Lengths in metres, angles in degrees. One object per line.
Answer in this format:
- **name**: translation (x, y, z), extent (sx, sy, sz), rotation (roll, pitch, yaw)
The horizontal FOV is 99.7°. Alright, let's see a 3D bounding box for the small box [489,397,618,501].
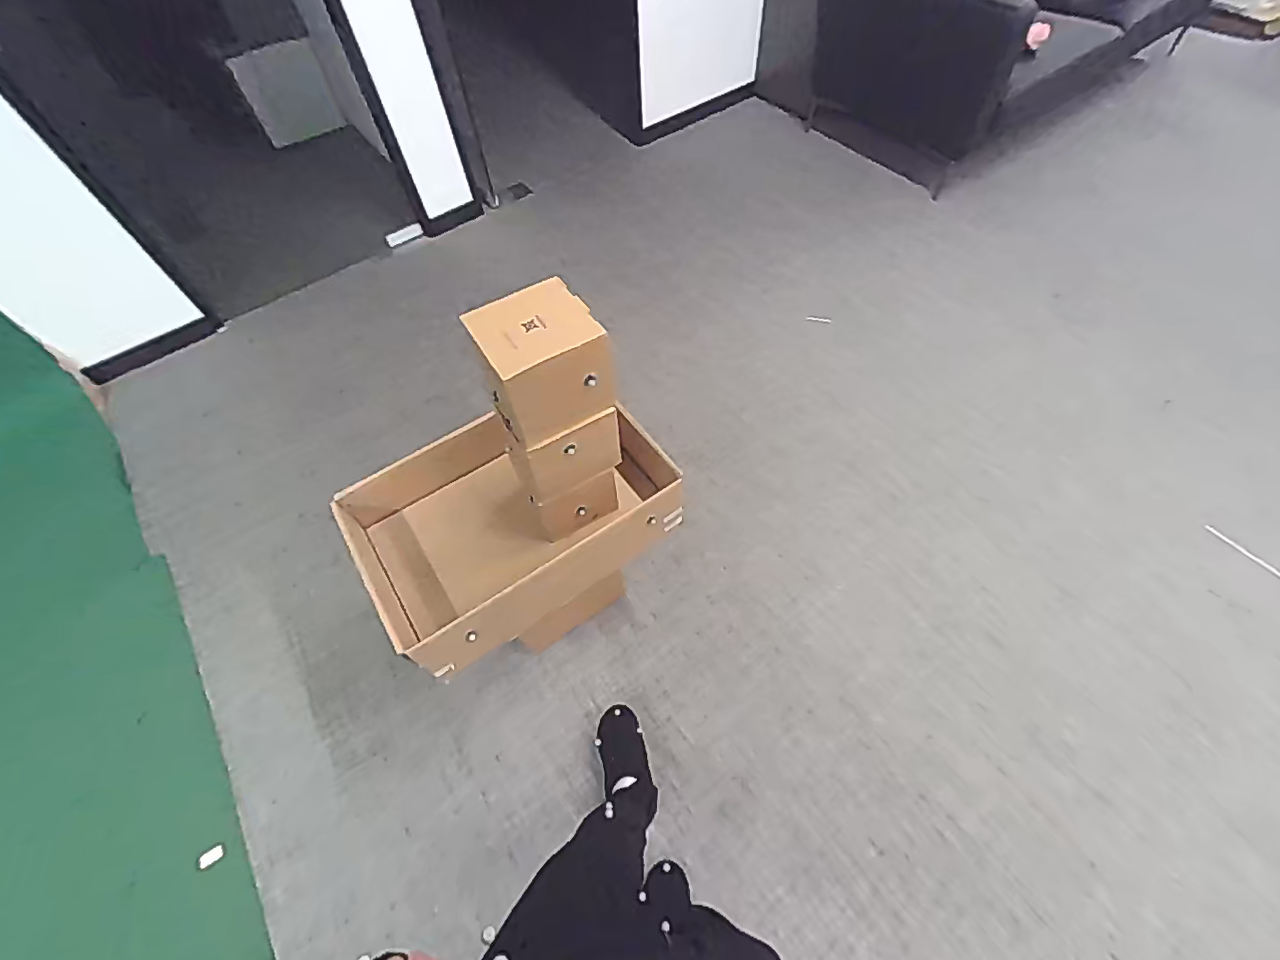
- **small box**: translation (-0.155, -0.089, 1.023), extent (0.179, 0.176, 0.168), rotation (-28, 60, -15)

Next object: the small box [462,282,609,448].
- **small box**: translation (-0.162, -0.187, 0.893), extent (0.179, 0.176, 0.168), rotation (-29, 60, -15)

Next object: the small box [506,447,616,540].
- **small box**: translation (-0.162, 0.006, 1.158), extent (0.168, 0.176, 0.179), rotation (-27, 59, -14)
